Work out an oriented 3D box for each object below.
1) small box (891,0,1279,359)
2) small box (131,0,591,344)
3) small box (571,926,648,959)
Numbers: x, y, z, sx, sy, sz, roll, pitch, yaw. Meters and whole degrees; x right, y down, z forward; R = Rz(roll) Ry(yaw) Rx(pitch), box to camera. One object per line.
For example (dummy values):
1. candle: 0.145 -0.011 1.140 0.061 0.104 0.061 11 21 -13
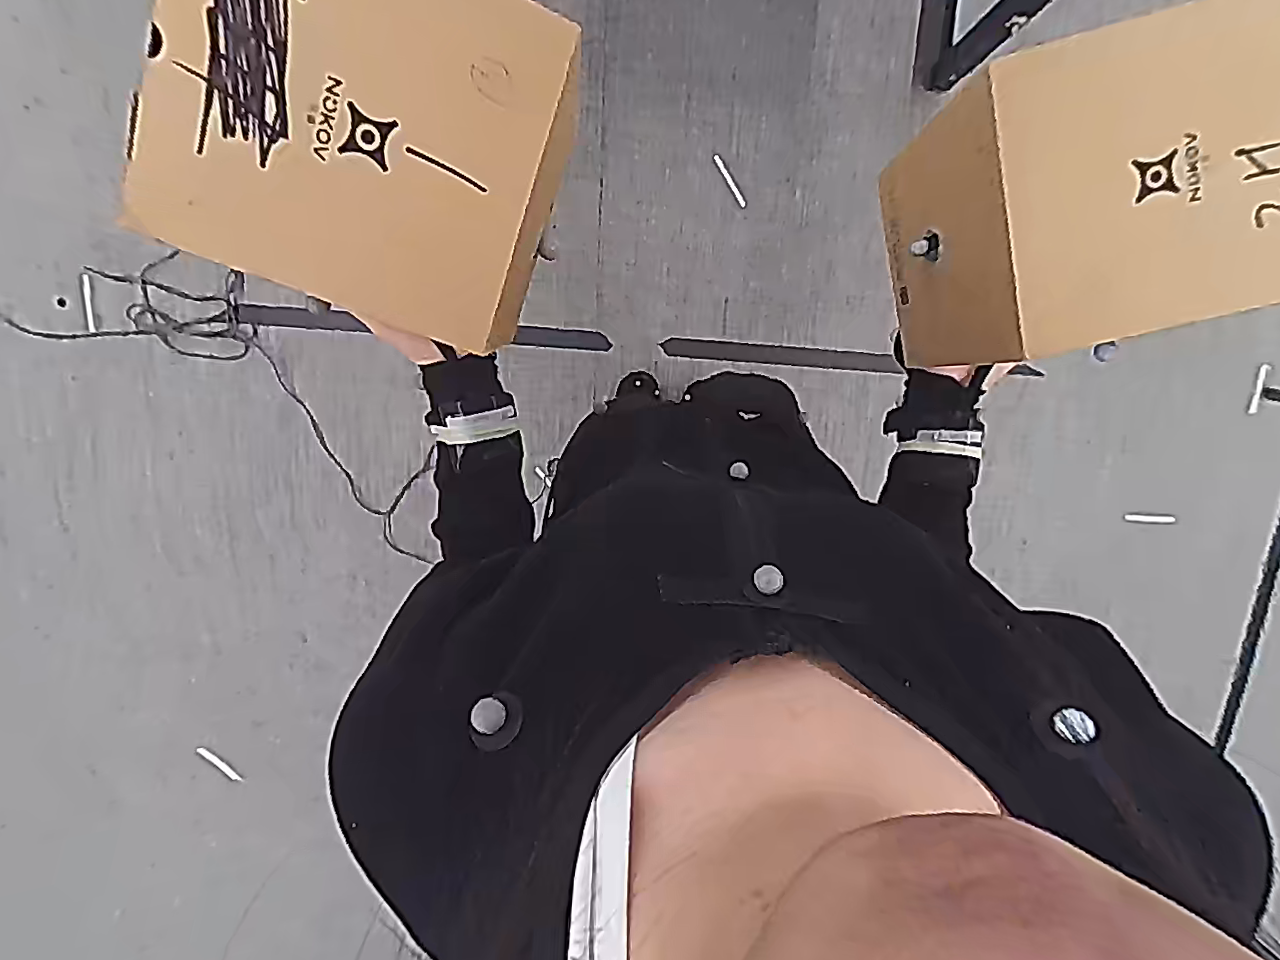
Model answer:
1. small box: 0.295 -0.184 0.377 0.179 0.176 0.168 -13 100 5
2. small box: -0.142 -0.194 0.331 0.179 0.176 0.168 18 104 -14
3. small box: -0.072 1.111 1.163 0.168 0.176 0.179 8 101 -4
